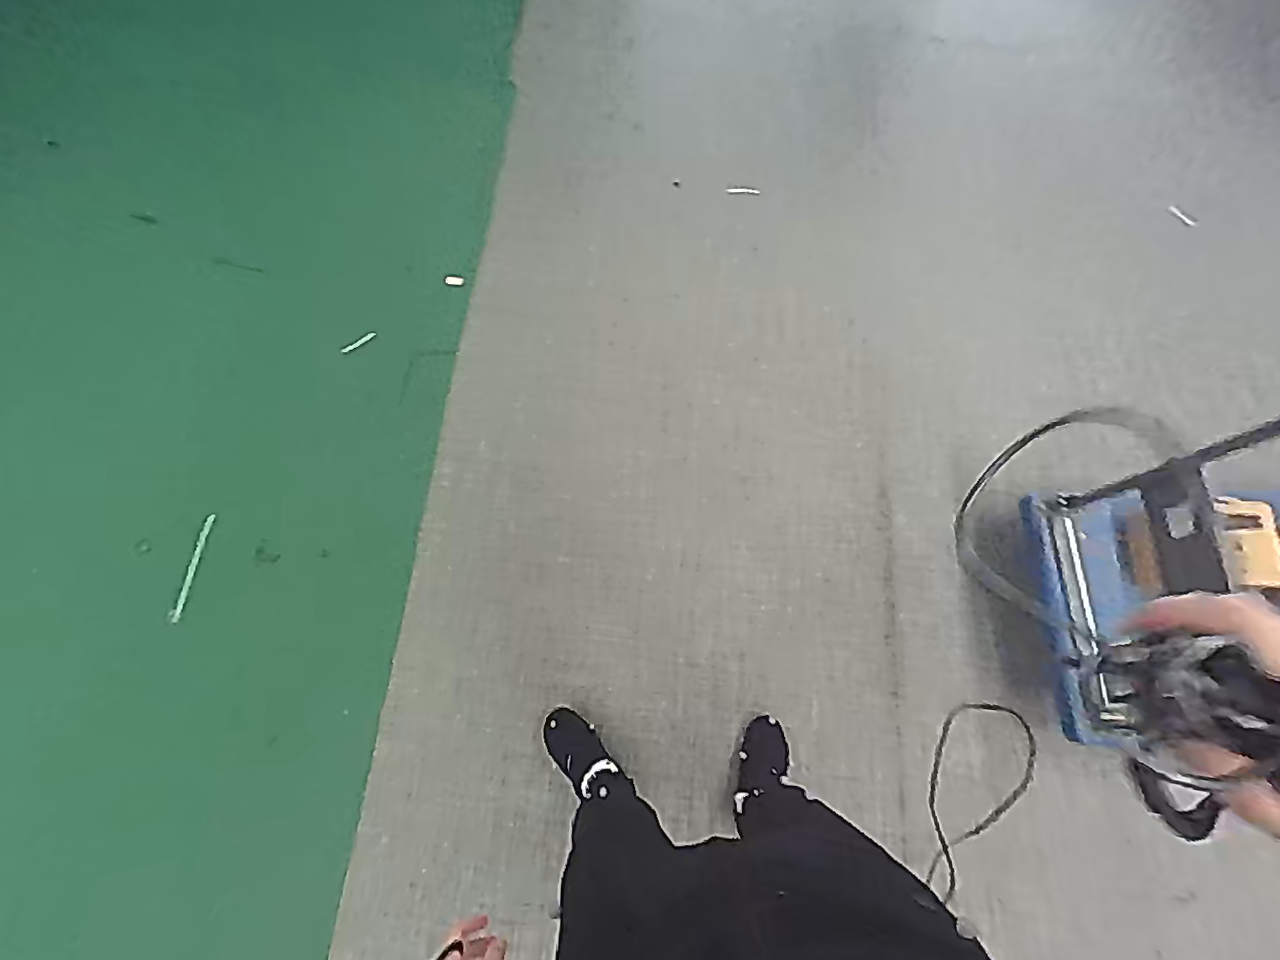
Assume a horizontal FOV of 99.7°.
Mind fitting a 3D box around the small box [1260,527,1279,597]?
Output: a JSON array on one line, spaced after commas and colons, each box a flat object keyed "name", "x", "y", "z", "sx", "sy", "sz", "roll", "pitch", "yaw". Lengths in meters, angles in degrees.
[{"name": "small box", "x": 1.510, "y": 0.170, "z": 1.158, "sx": 0.179, "sy": 0.176, "sz": 0.168, "roll": -4, "pitch": 73, "yaw": 3}]

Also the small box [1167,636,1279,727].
[{"name": "small box", "x": 1.252, "y": 0.407, "z": 1.102, "sx": 0.179, "sy": 0.176, "sz": 0.168, "roll": 1, "pitch": 73, "yaw": 5}]
